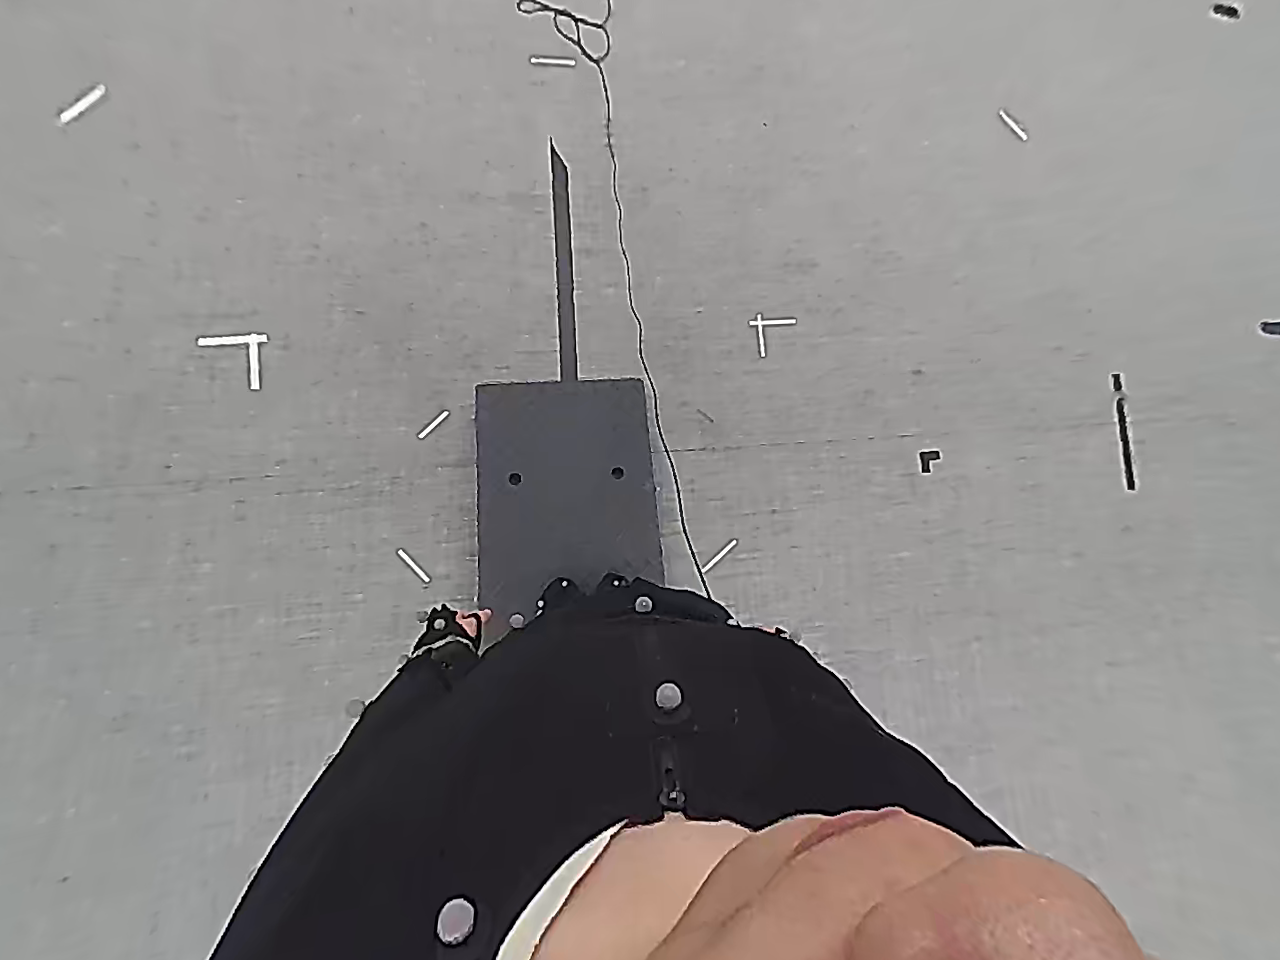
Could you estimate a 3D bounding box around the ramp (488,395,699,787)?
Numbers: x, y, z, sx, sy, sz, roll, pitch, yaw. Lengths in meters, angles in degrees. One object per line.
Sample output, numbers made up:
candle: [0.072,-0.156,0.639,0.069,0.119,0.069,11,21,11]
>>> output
ramp: [-0.151,0.233,1.447,0.509,0.206,0.991,-6,82,-7]
